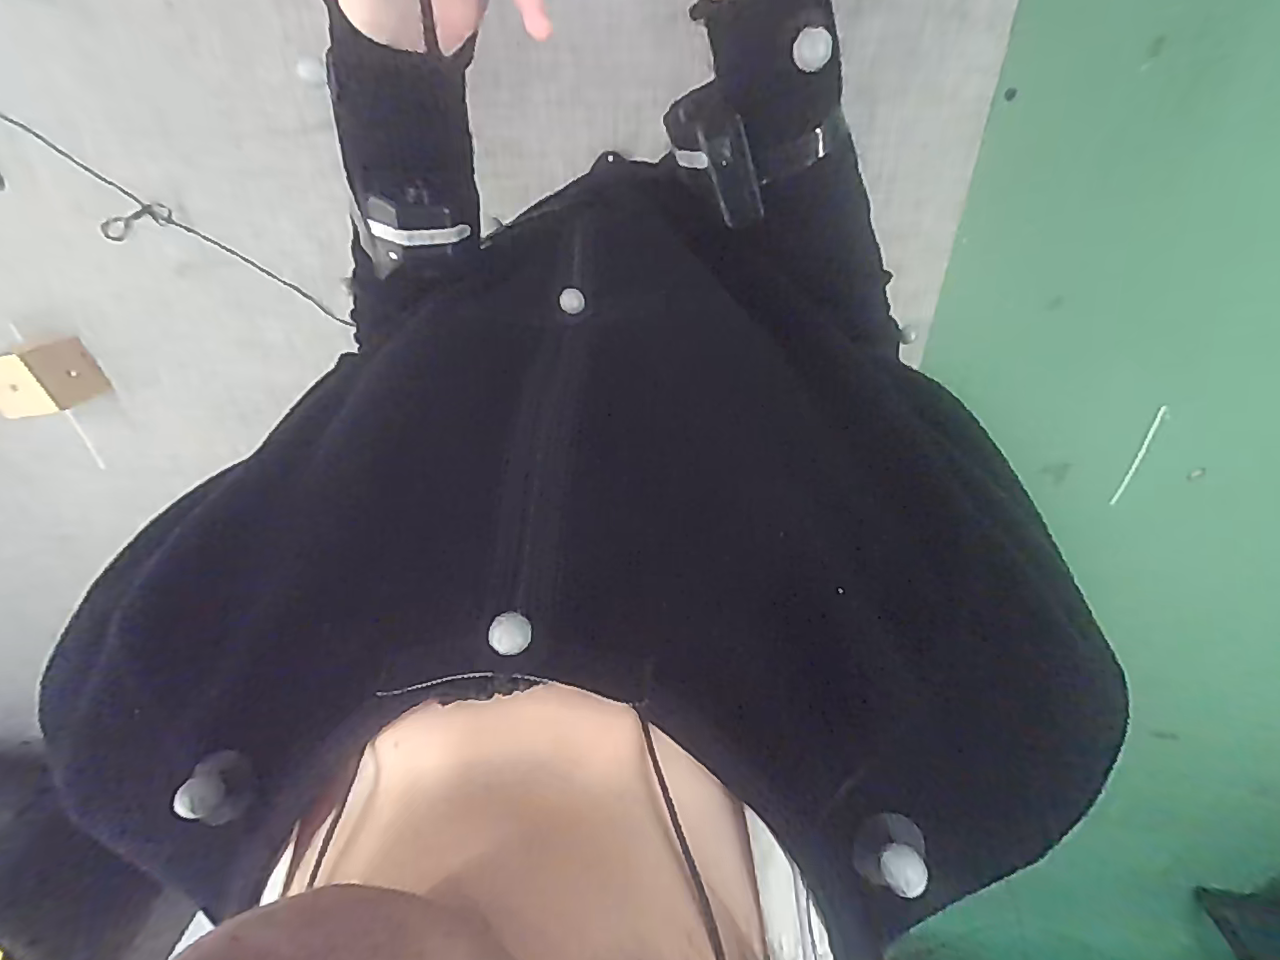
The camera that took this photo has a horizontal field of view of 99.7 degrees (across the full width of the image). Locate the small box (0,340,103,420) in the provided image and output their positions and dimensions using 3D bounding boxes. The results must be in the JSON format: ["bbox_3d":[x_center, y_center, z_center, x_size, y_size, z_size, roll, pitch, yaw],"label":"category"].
[{"bbox_3d":[-1.665,-0.281,1.502,0.179,0.176,0.168,-5,121,7],"label":"small box"}]
